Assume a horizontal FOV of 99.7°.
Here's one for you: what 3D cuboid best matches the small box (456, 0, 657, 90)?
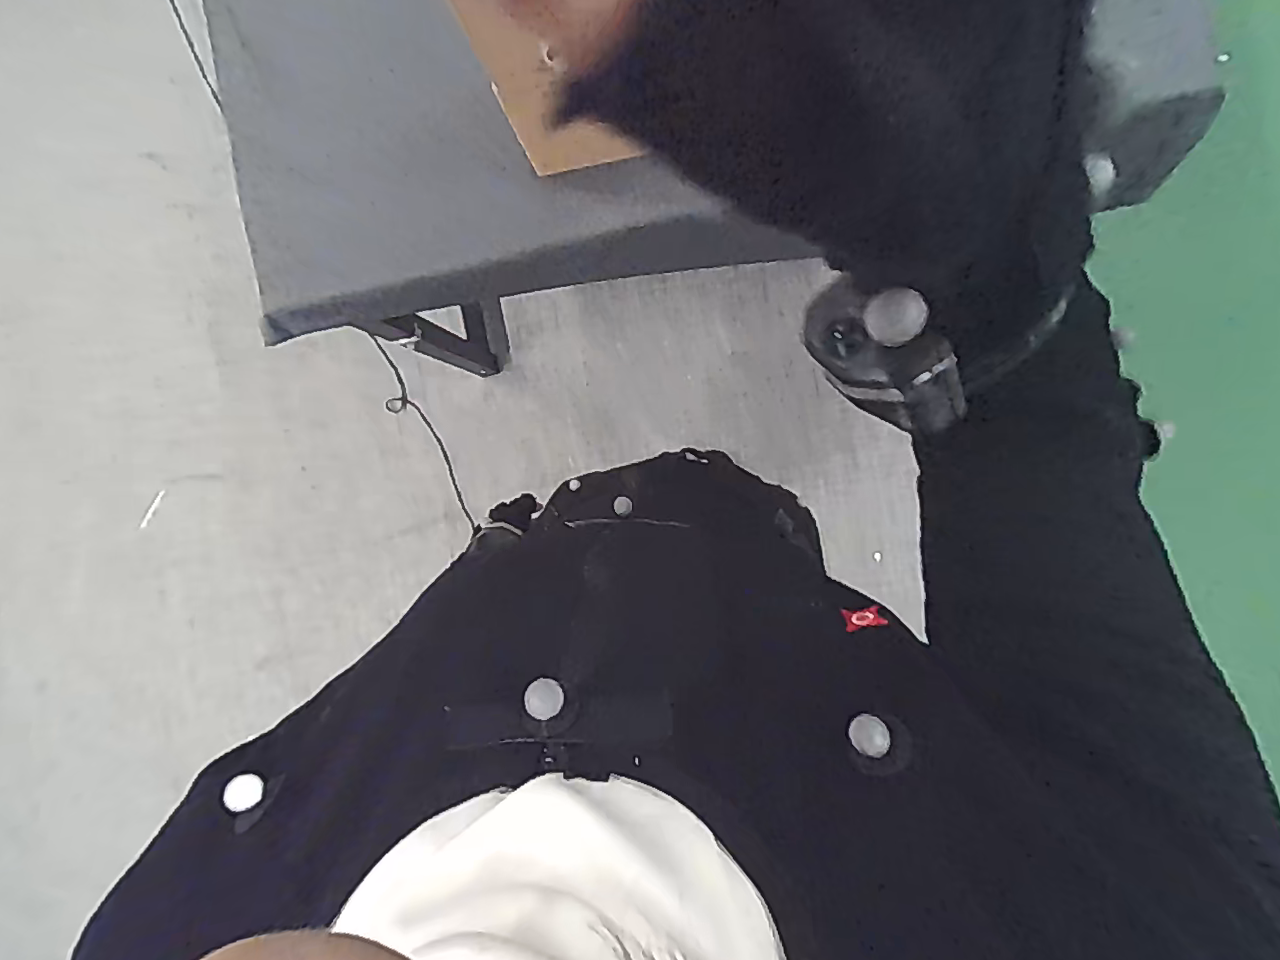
[{"bbox_3d":[-0.085,-0.481,0.450,0.168,0.176,0.179,-9,92,9],"label":"small box"}]

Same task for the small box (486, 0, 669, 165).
[{"bbox_3d":[-0.066,-0.488,0.610,0.179,0.176,0.168,-8,91,6],"label":"small box"}]
